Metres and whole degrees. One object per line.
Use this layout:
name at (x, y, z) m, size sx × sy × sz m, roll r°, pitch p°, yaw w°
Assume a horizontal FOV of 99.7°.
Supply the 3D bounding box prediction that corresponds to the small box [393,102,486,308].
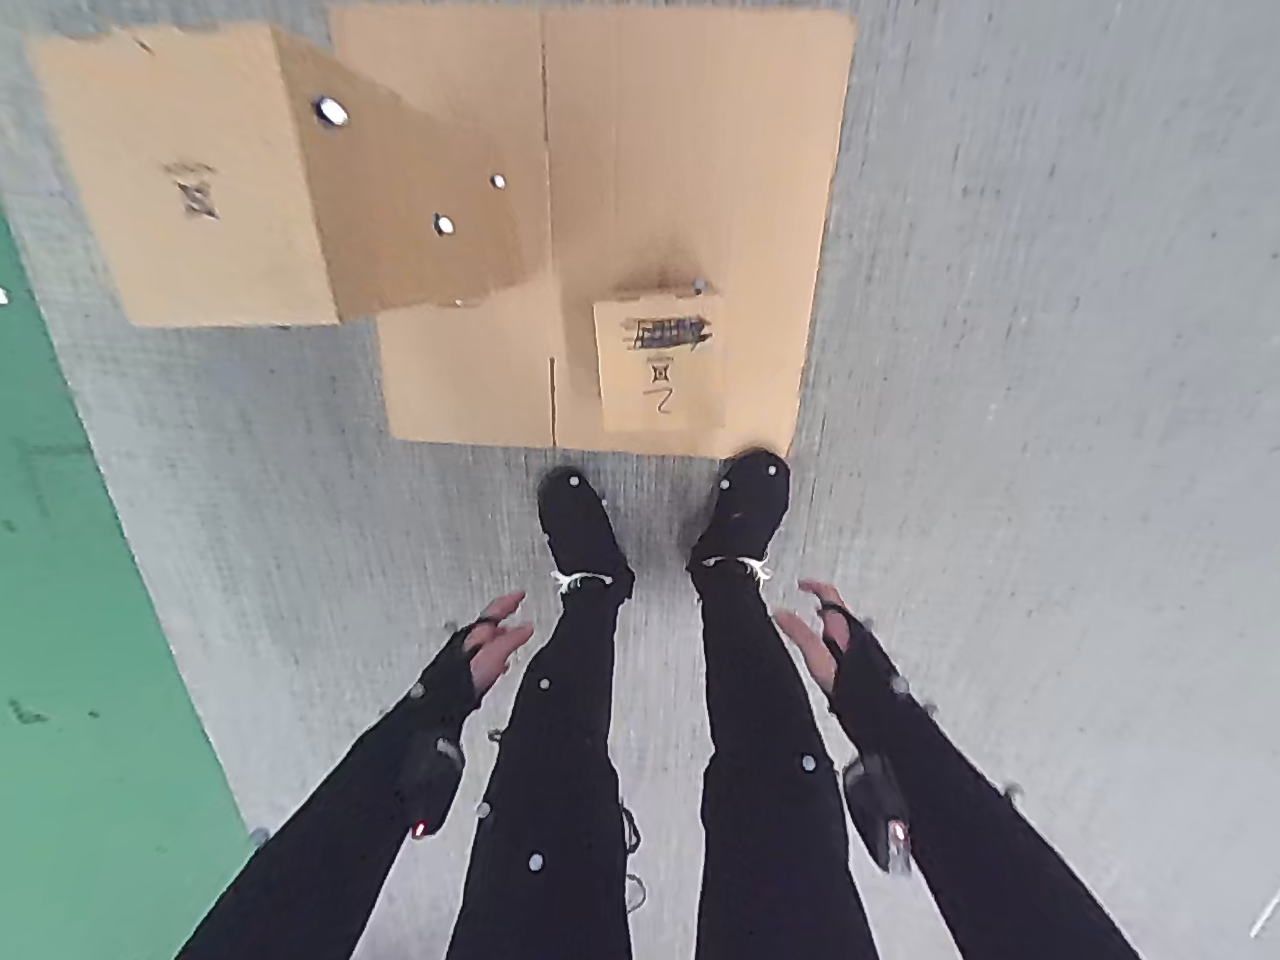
small box at (-0.280, -0.283, 0.587) m, size 0.168 × 0.176 × 0.179 m, roll 0°, pitch 112°, yaw 5°

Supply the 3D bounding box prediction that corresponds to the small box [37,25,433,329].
small box at (-0.288, -0.223, 0.436) m, size 0.168 × 0.176 × 0.179 m, roll 0°, pitch 112°, yaw 5°
